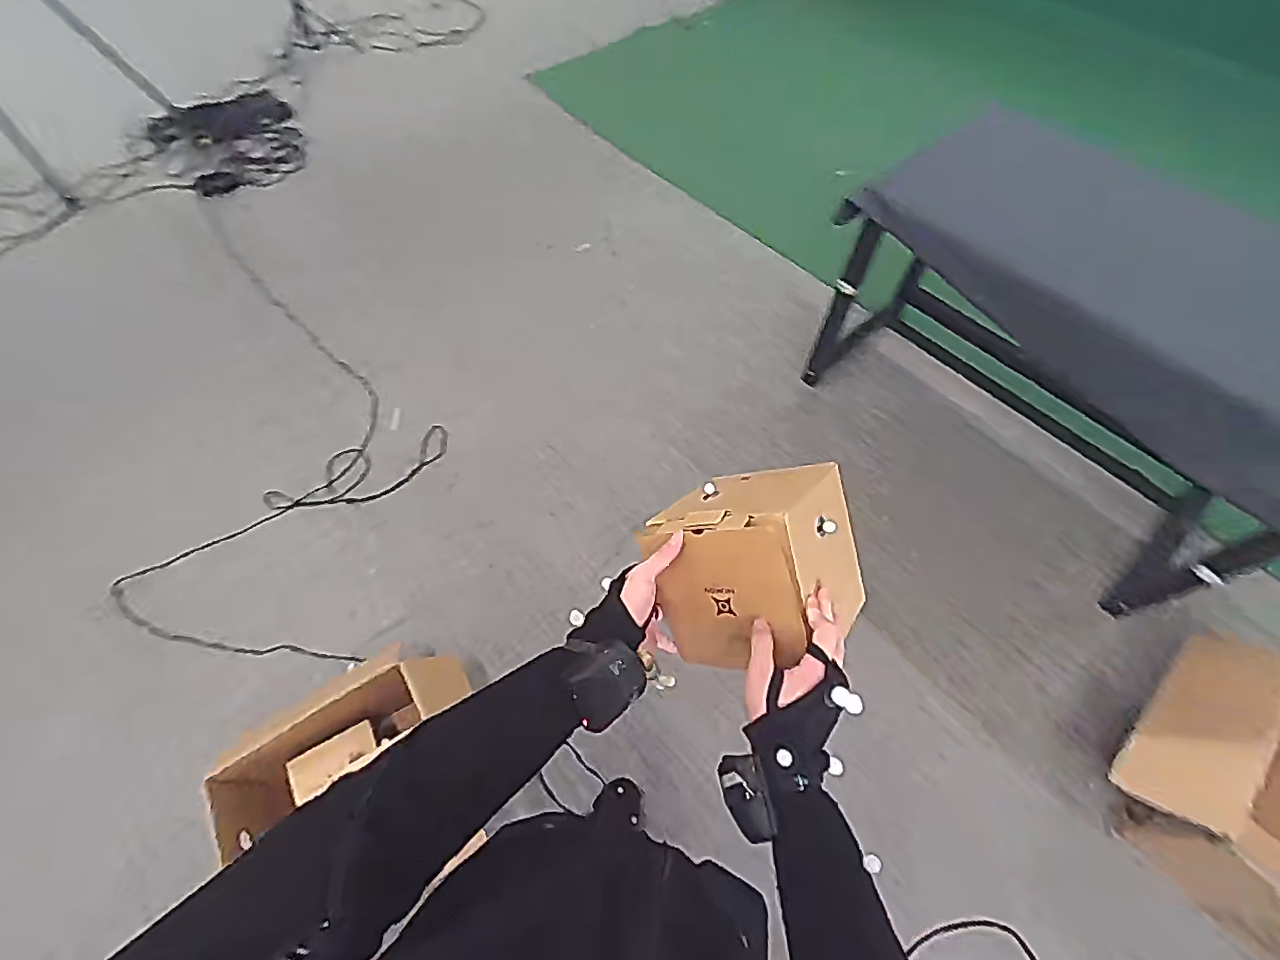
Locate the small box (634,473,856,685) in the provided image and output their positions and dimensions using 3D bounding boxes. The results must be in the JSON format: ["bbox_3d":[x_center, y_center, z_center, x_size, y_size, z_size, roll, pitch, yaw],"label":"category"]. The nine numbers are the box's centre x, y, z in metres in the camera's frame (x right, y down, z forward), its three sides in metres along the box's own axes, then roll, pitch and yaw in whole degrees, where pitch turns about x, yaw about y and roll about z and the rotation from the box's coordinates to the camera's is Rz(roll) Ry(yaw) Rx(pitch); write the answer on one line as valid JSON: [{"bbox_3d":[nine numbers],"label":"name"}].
[{"bbox_3d":[0.125,0.098,0.605,0.168,0.179,0.176,-10,12,38],"label":"small box"}]
